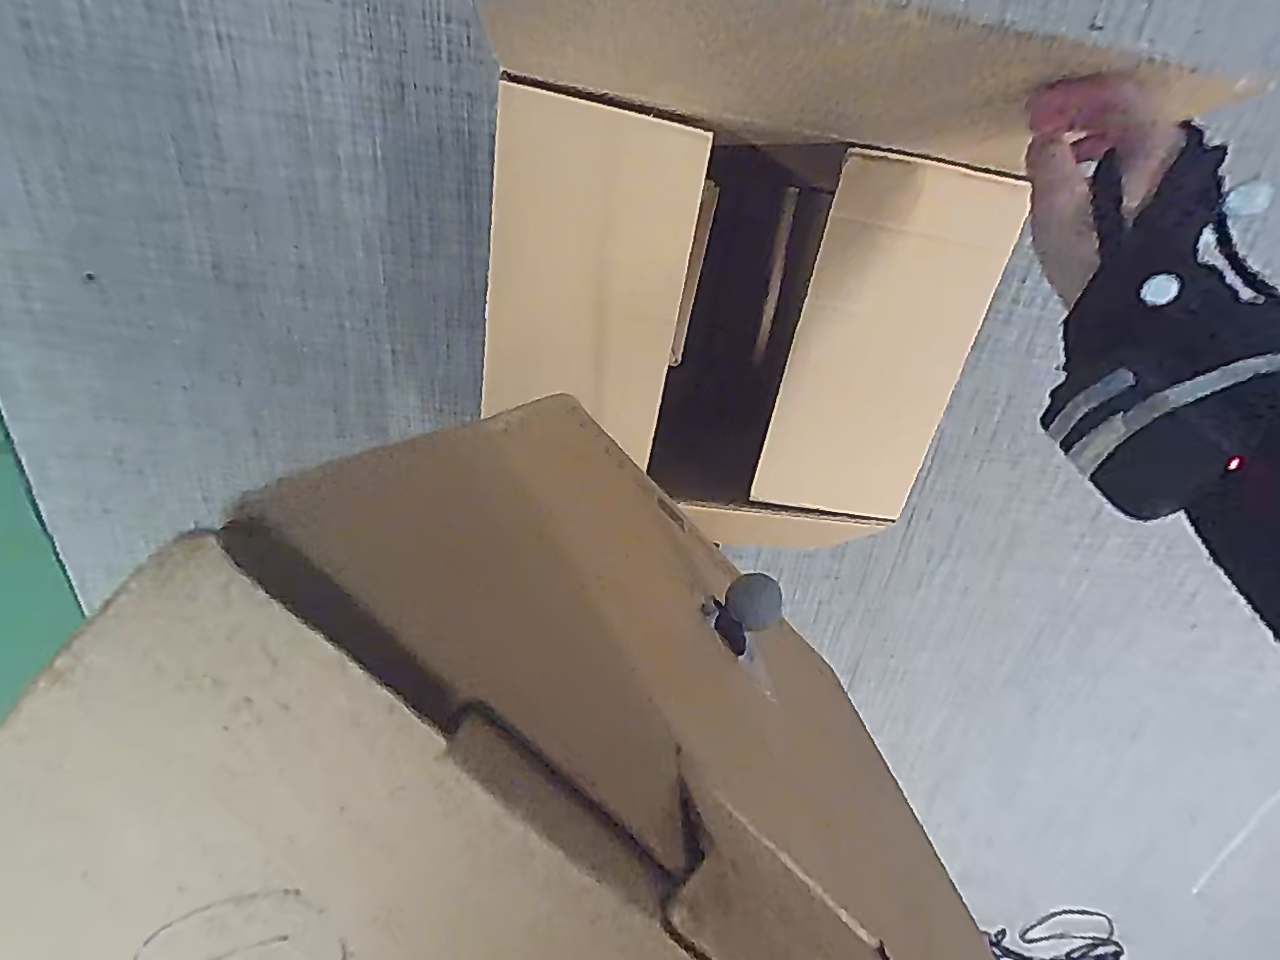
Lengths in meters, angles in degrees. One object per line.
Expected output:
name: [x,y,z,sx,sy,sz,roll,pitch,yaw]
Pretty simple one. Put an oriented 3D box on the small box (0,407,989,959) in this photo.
small box: [-0.041,0.095,0.153,0.179,0.176,0.168,-43,98,9]
